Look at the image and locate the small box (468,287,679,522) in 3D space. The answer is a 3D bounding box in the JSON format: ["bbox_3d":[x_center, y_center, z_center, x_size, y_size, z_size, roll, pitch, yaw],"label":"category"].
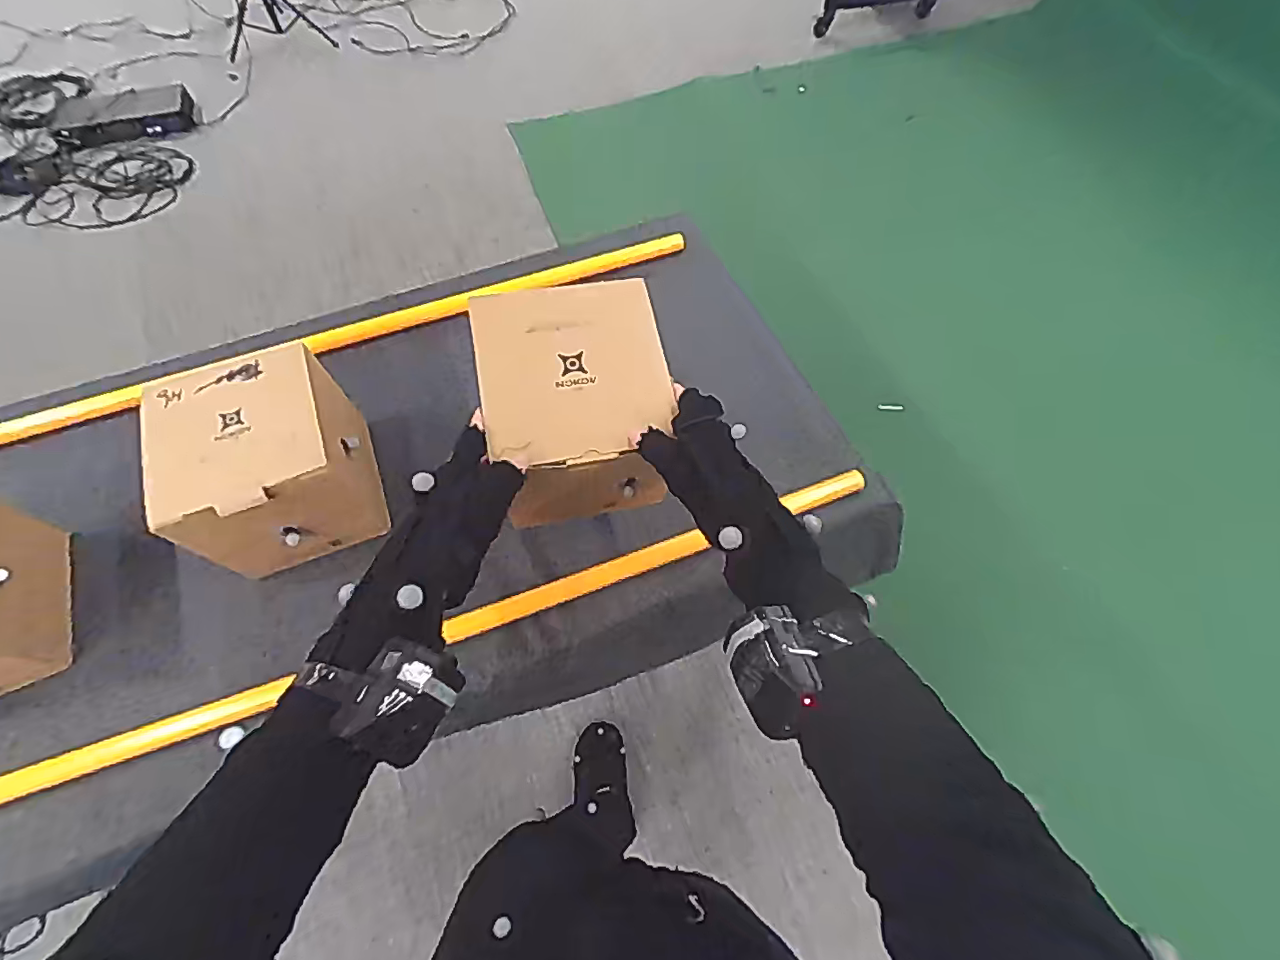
[{"bbox_3d":[-0.070,-0.065,0.554,0.168,0.176,0.179,-10,69,-11],"label":"small box"}]

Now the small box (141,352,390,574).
[{"bbox_3d":[-0.416,-0.008,0.623,0.168,0.176,0.179,-24,65,-12],"label":"small box"}]

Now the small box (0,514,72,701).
[{"bbox_3d":[-0.727,0.134,0.537,0.168,0.176,0.179,-23,66,-13],"label":"small box"}]
